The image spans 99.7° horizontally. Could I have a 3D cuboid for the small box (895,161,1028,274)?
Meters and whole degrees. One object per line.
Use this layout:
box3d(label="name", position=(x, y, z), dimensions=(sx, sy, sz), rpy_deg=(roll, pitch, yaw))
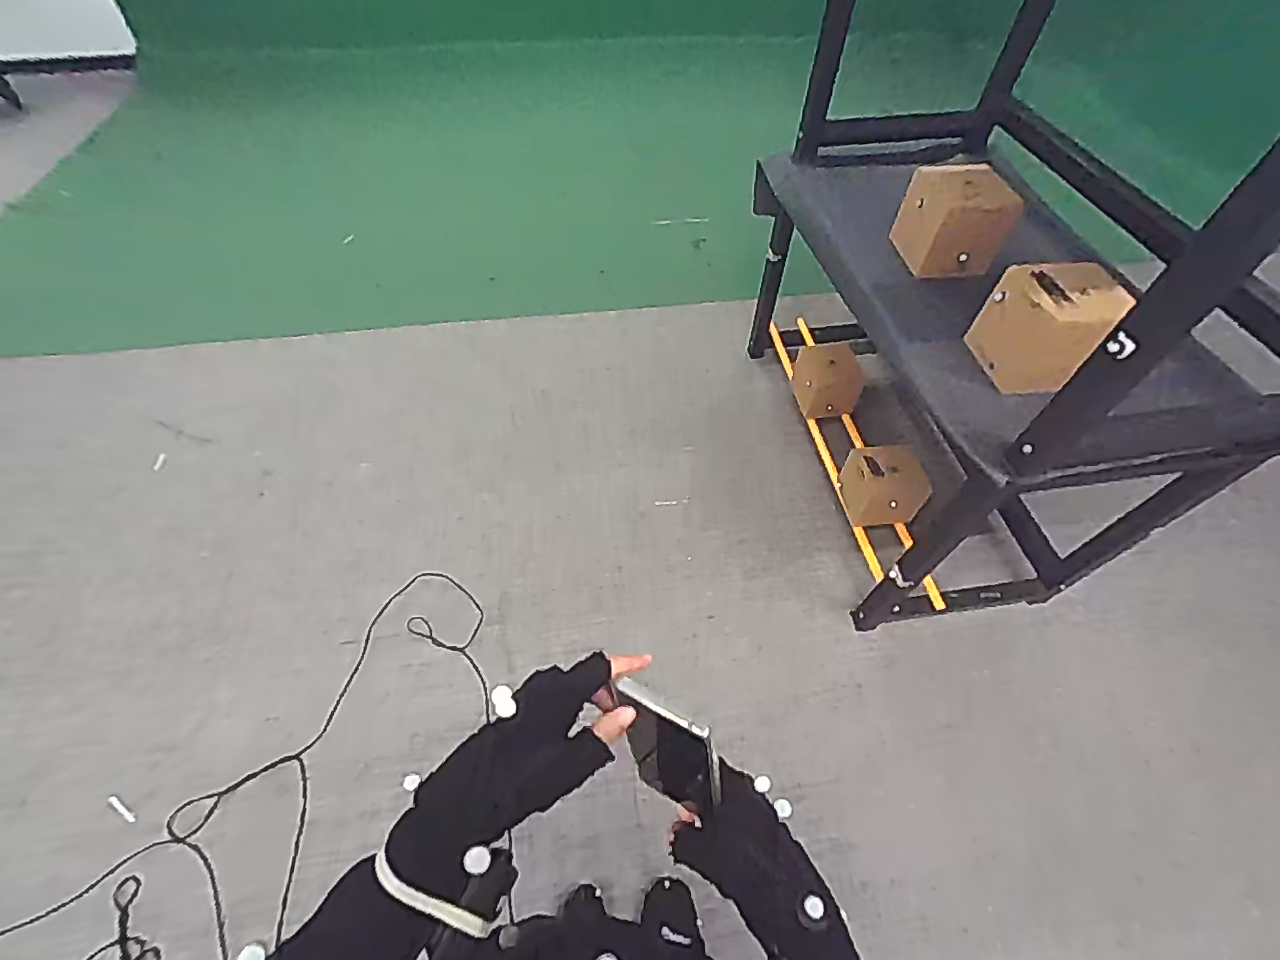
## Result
box3d(label="small box", position=(0.703, -0.586, 1.211), dimensions=(0.168, 0.176, 0.179), rpy_deg=(-4, 55, -3))

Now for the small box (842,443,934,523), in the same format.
box3d(label="small box", position=(0.697, 0.012, 1.549), dimensions=(0.179, 0.176, 0.168), rpy_deg=(-4, 55, -3))
